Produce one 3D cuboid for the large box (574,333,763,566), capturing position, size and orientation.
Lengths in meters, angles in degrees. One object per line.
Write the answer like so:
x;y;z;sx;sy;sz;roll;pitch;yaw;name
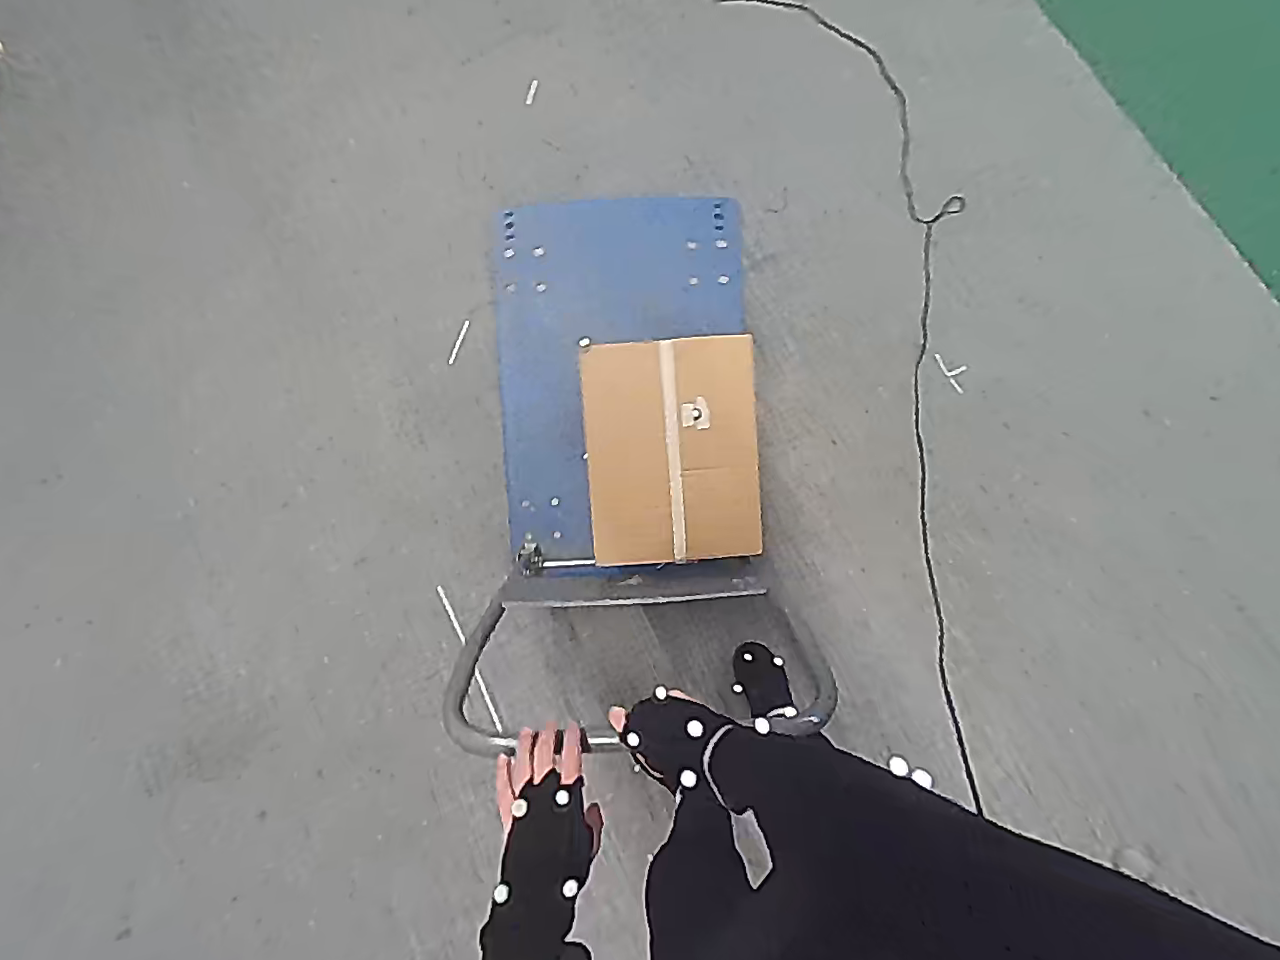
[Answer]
0.052;-0.062;1.130;0.320;0.320;0.408;-6;94;-2;large box
